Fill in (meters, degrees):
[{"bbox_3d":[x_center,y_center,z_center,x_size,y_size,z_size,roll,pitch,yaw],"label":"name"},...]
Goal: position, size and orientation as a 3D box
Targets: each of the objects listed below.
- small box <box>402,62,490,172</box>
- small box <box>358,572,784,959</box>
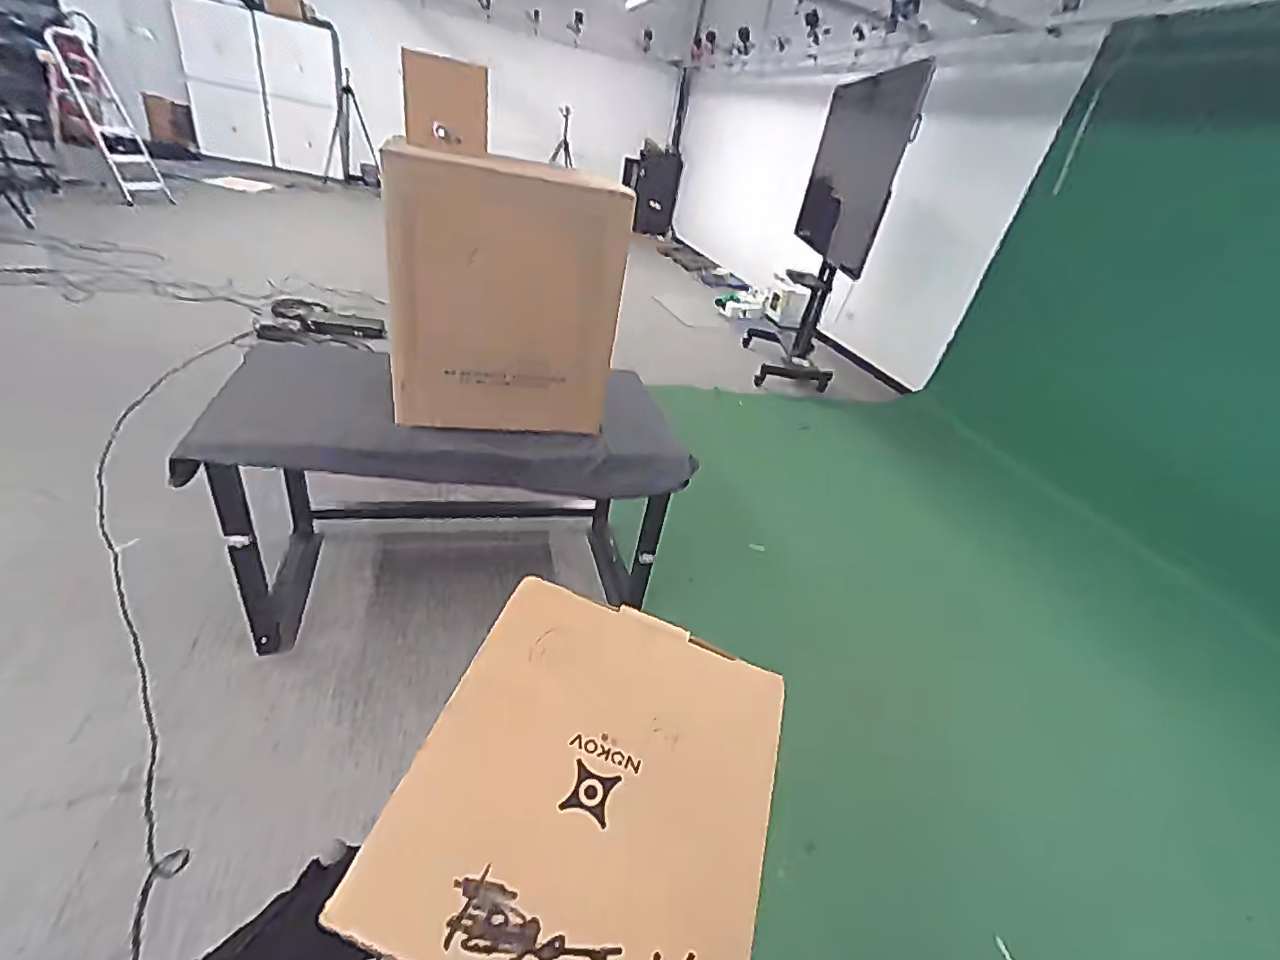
[{"bbox_3d":[-0.417,-0.789,1.178,0.168,0.176,0.179,-3,37,-18],"label":"small box"},{"bbox_3d":[-0.030,0.194,0.324,0.168,0.176,0.179,19,44,6],"label":"small box"}]
